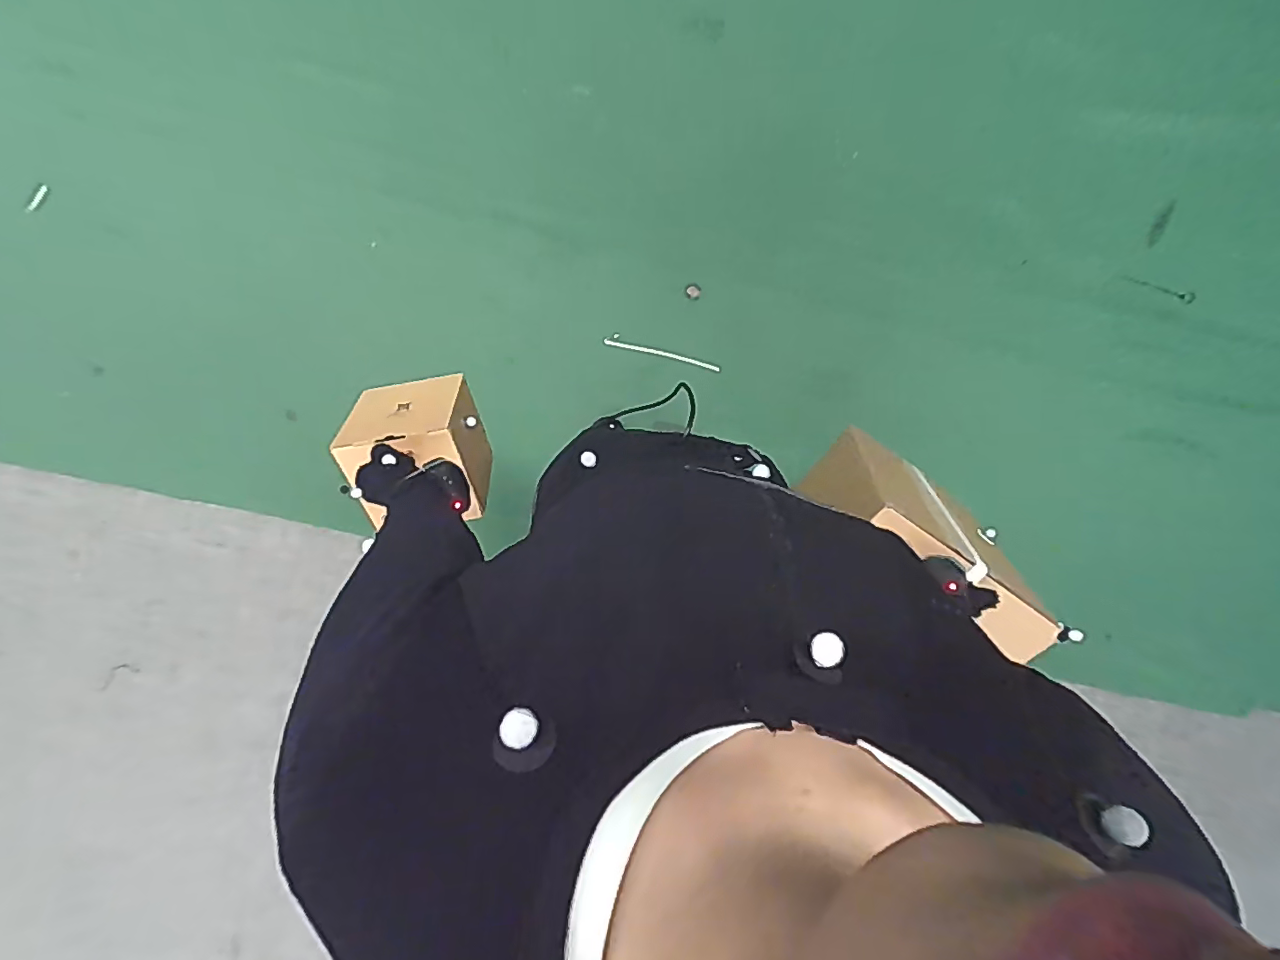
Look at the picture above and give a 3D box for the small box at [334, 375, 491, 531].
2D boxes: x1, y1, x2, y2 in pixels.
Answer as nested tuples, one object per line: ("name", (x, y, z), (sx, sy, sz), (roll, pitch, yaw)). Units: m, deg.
("small box", (-0.346, -0.044, 0.866), (0.168, 0.179, 0.176), (-11, 128, -1))
